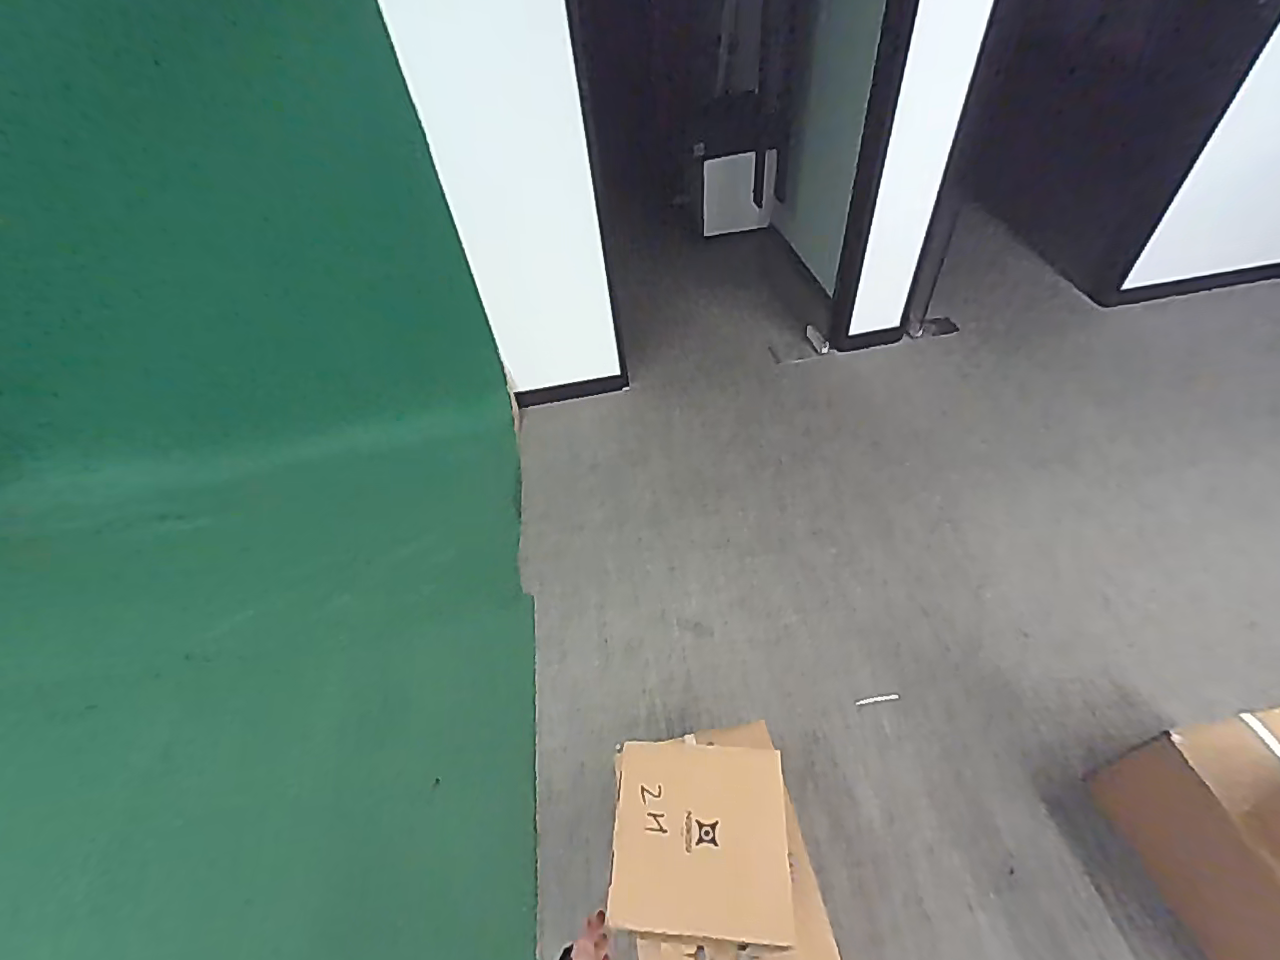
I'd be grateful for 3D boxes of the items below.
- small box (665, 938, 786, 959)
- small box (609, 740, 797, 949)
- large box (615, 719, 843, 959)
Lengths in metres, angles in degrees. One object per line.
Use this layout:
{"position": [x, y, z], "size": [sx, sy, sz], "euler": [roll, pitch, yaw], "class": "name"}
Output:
{"position": [0.127, 0.629, 0.846], "size": [0.168, 0.176, 0.179], "euler": [-4, 48, 6], "class": "small box"}
{"position": [0.073, 0.410, 0.609], "size": [0.179, 0.176, 0.168], "euler": [-1, 48, 9], "class": "small box"}
{"position": [0.152, 0.753, 1.059], "size": [0.320, 0.320, 0.408], "euler": [-11, 46, -2], "class": "large box"}
